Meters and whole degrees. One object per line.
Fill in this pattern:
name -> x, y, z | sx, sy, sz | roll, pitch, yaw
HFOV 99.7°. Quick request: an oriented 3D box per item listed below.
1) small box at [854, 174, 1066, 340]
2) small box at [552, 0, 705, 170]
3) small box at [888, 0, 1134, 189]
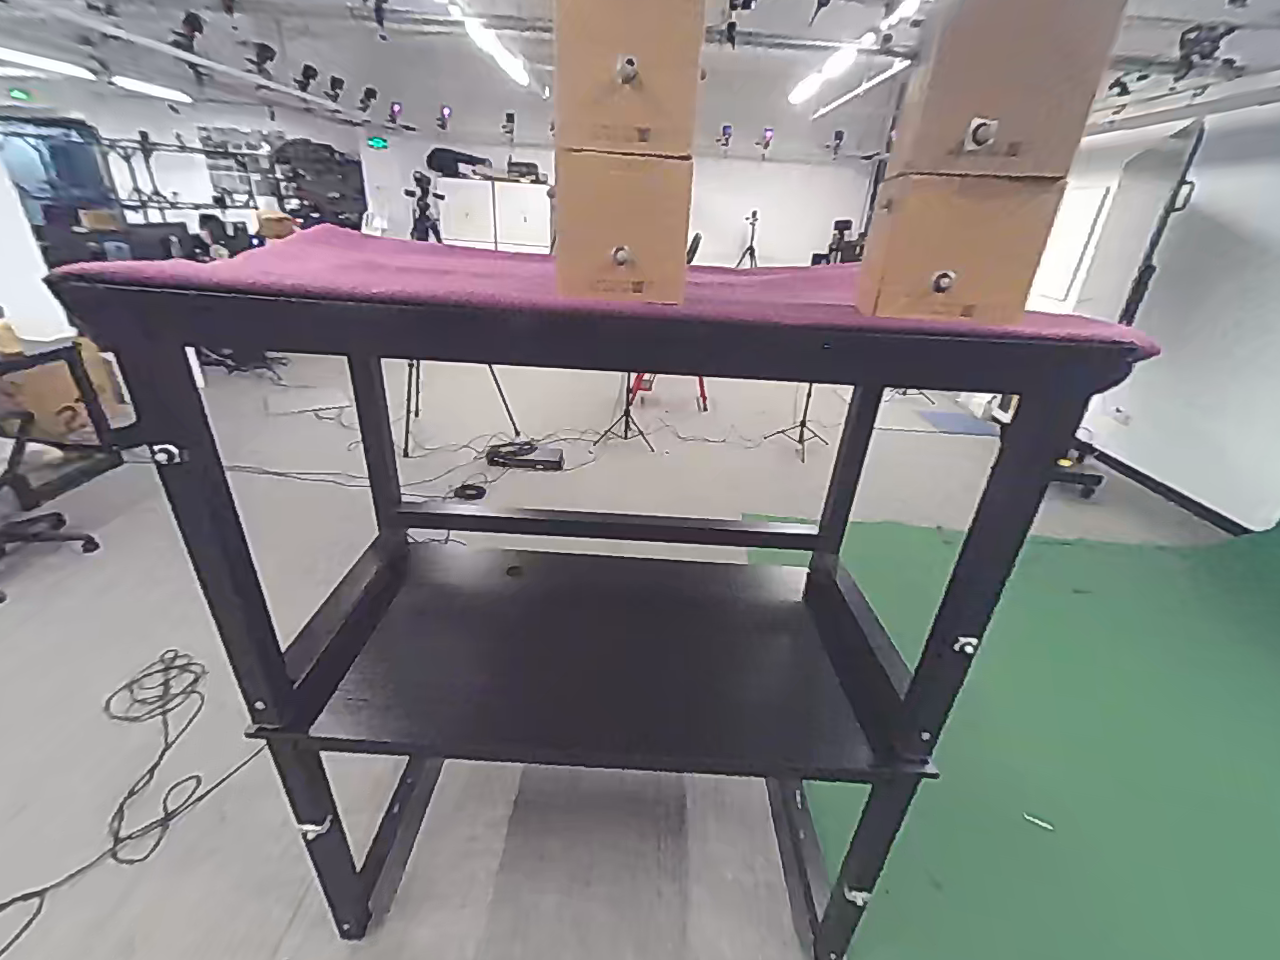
small box -> 0.387, -0.288, 0.696 | 0.168, 0.176, 0.179 | 8, 28, 9
small box -> -0.014, -0.487, 0.670 | 0.168, 0.176, 0.179 | 3, 26, -2
small box -> 0.395, -0.429, 0.616 | 0.168, 0.176, 0.179 | 8, 29, 13
